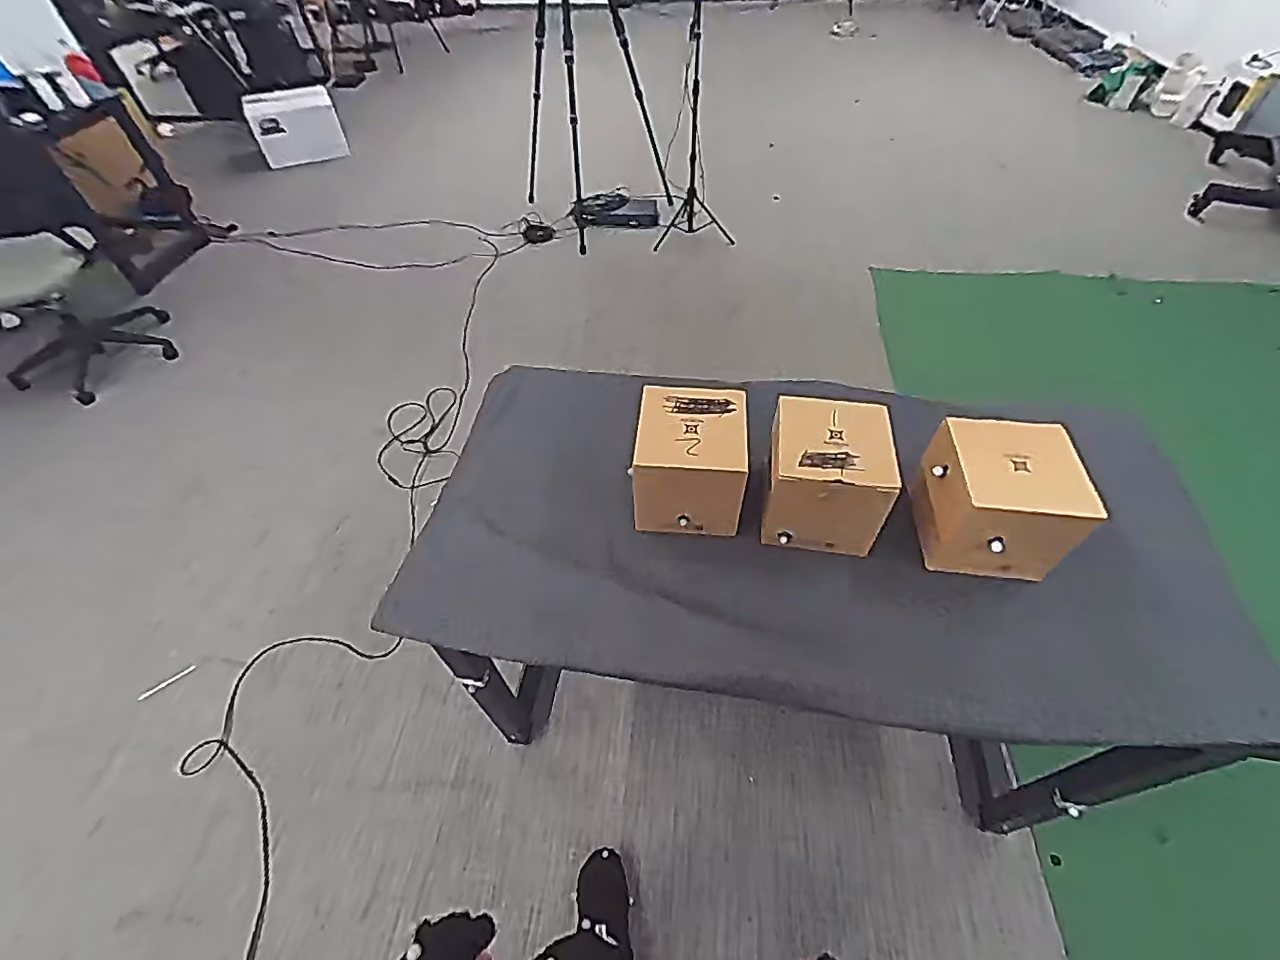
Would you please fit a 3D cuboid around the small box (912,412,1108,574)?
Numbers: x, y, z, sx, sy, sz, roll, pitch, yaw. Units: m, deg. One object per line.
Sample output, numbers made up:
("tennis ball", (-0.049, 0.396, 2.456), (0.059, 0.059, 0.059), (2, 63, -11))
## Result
("small box", (0.530, 0.022, 0.808), (0.168, 0.176, 0.179), (5, 50, 7))
